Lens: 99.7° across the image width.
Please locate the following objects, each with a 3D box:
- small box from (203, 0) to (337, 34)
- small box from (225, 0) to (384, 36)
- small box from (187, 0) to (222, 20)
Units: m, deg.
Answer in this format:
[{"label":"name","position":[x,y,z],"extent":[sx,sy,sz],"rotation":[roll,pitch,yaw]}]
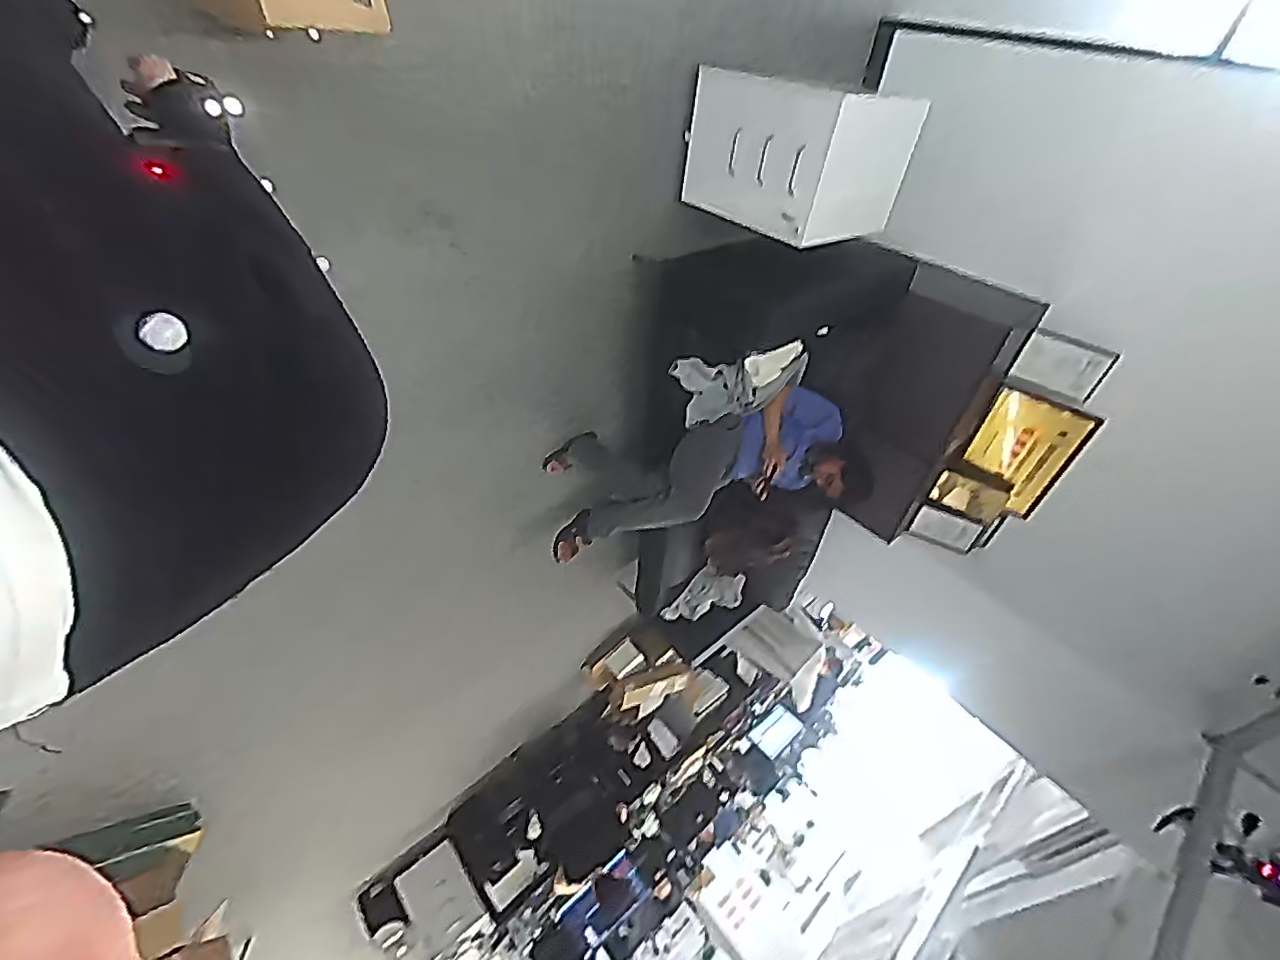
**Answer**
[{"label":"small box","position":[-0.623,-0.847,0.874],"extent":[0.168,0.176,0.179],"rotation":[-29,145,-31]},{"label":"small box","position":[-0.507,-0.766,0.786],"extent":[0.179,0.176,0.168],"rotation":[-27,141,-32]},{"label":"small box","position":[-0.730,-0.936,0.956],"extent":[0.168,0.176,0.179],"rotation":[-29,143,-33]}]
